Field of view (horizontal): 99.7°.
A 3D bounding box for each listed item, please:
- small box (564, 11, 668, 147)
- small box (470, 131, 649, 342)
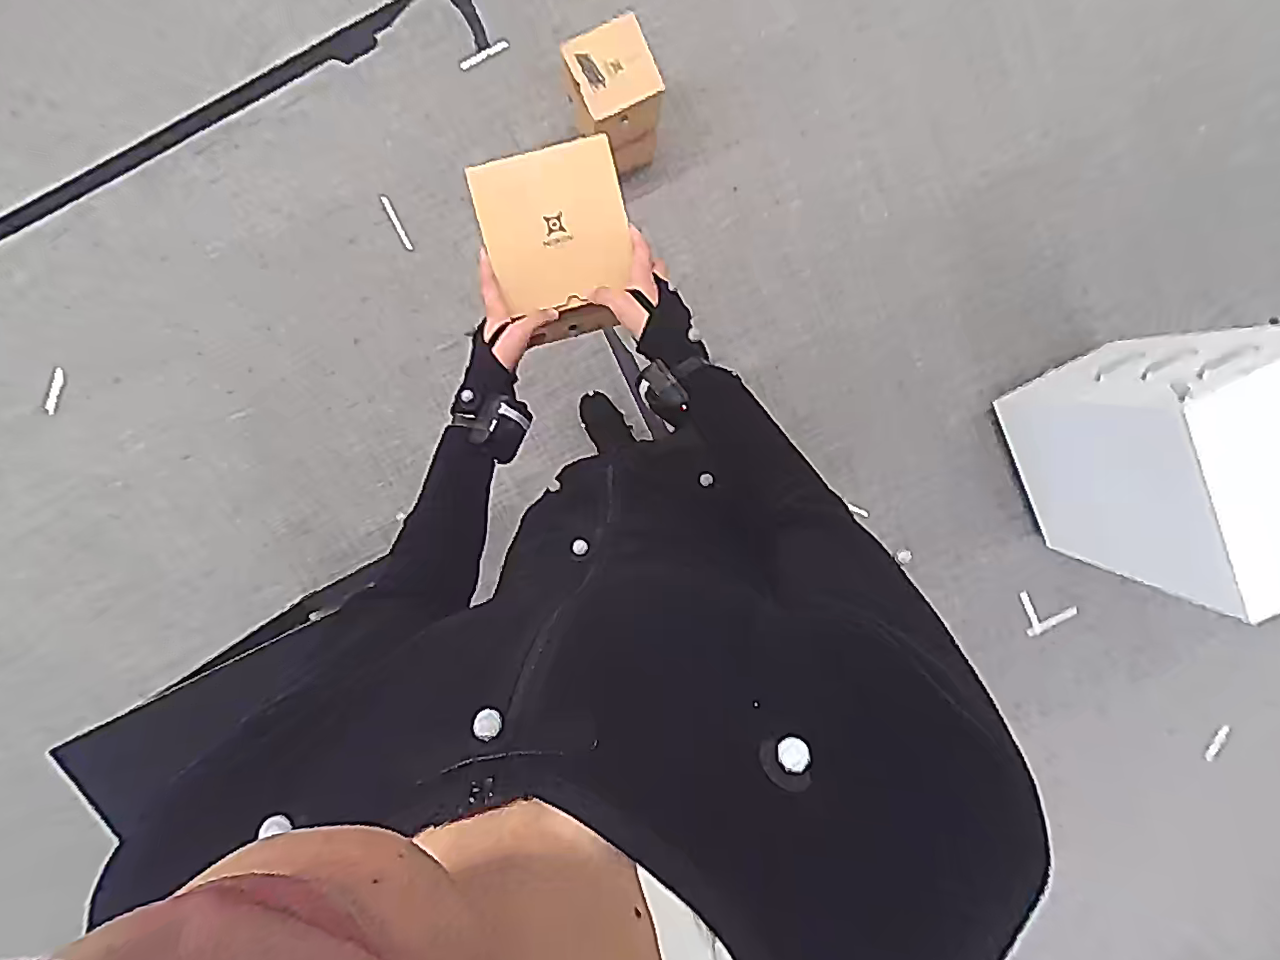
[{"bbox_3d":[-0.052,-0.885,1.223,0.179,0.176,0.168,-26,99,1],"label":"small box"},{"bbox_3d":[-0.092,-0.289,0.680,0.168,0.176,0.179,-15,96,0],"label":"small box"}]
